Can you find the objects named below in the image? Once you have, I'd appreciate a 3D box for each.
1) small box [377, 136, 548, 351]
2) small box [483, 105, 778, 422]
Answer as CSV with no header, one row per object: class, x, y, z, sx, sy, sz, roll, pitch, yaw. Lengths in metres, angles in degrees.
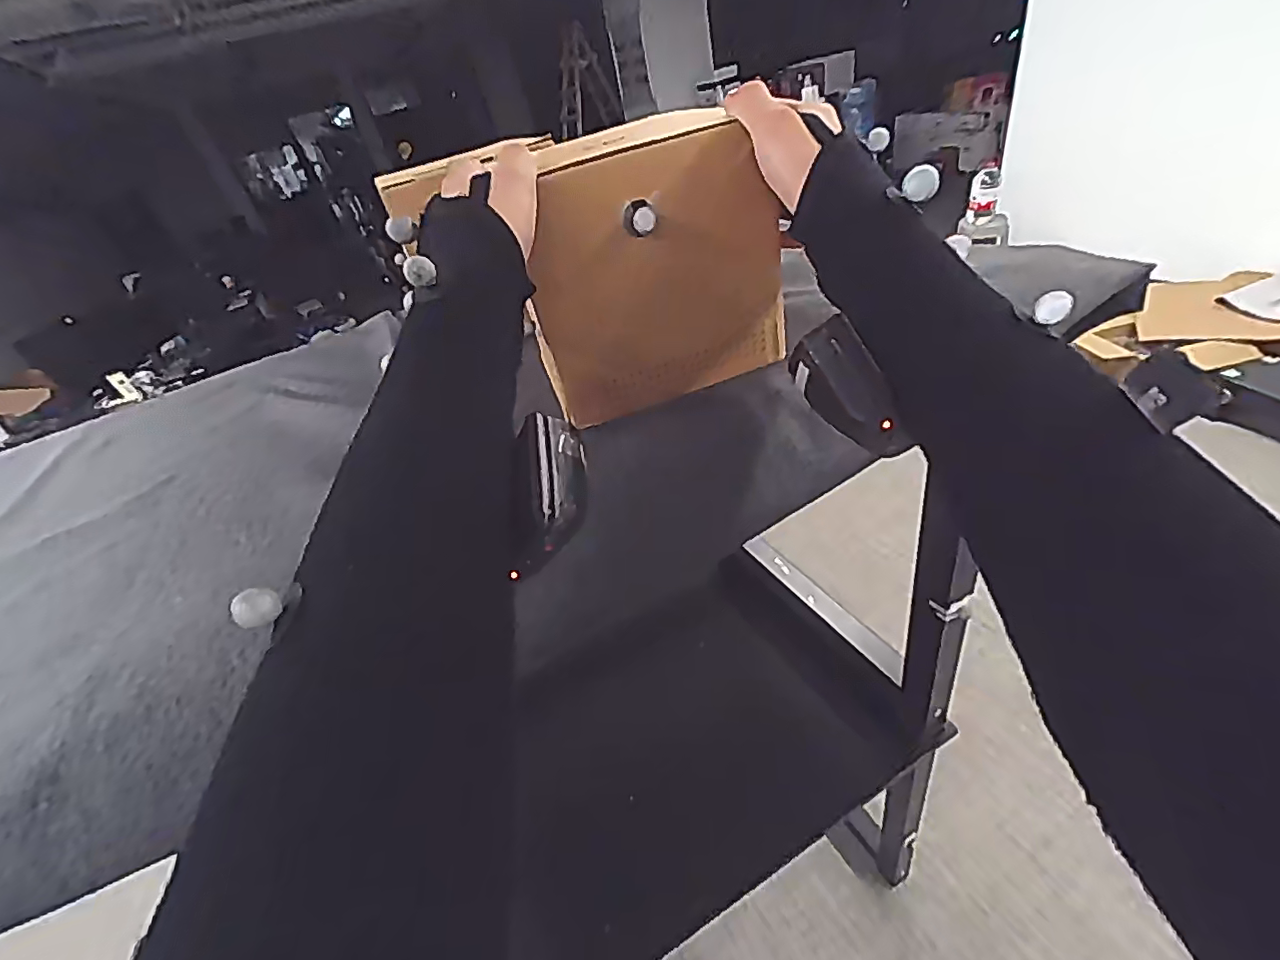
small box,-0.169,-0.260,0.598,0.168,0.176,0.179,-24,36,-12
small box,-0.005,-0.171,0.423,0.179,0.176,0.168,-20,36,-6
